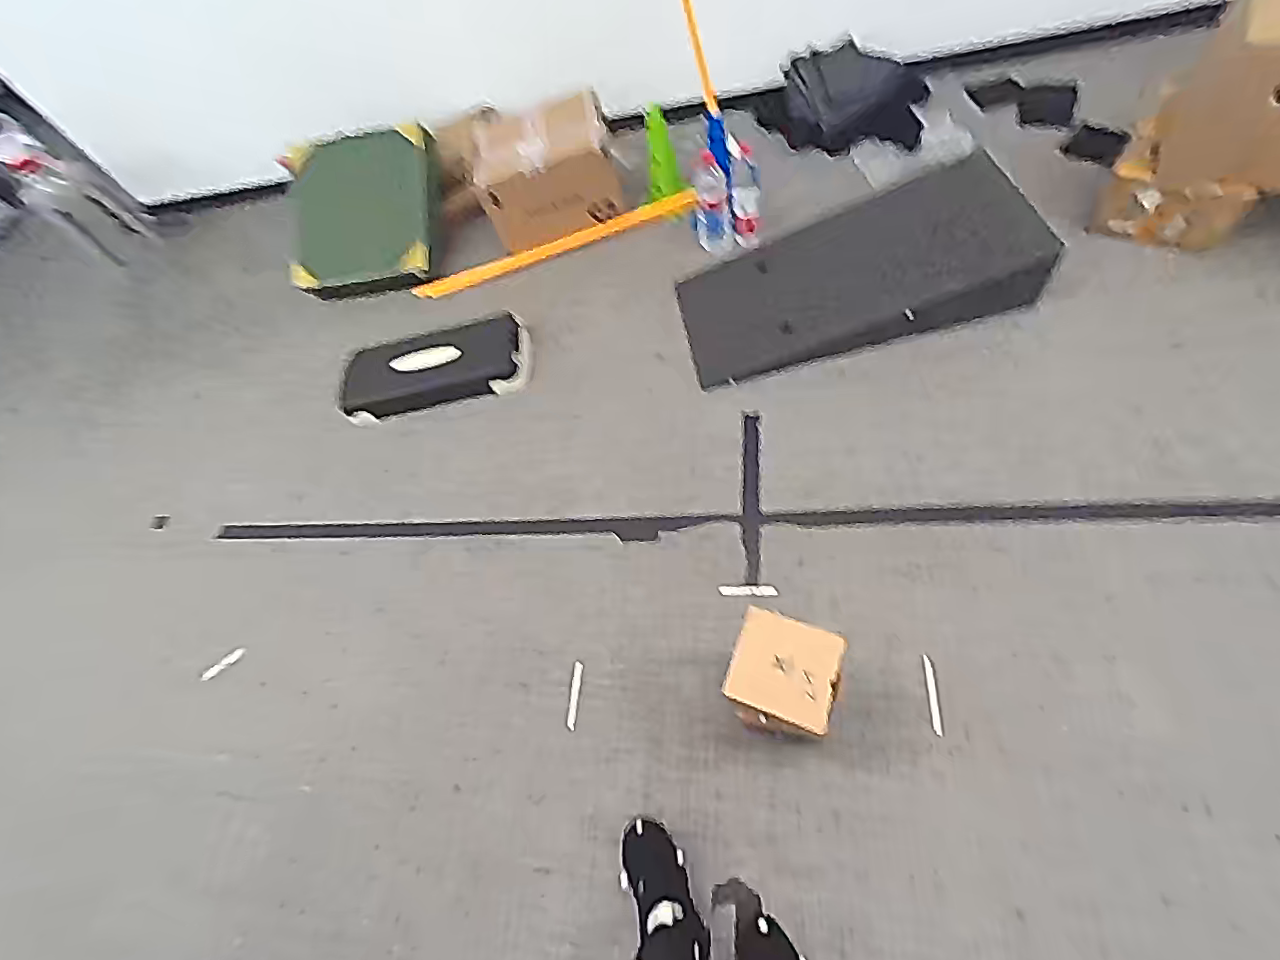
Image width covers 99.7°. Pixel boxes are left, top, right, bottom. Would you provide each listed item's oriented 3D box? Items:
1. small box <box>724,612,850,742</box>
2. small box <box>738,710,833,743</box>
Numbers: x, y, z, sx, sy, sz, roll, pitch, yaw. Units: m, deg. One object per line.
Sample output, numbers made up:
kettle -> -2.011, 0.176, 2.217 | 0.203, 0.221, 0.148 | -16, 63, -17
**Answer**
small box -> 0.270, 0.368, 0.999 | 0.179, 0.176, 0.168 | 16, 67, 22
small box -> 0.305, 0.450, 1.138 | 0.179, 0.176, 0.168 | 5, 63, 15
